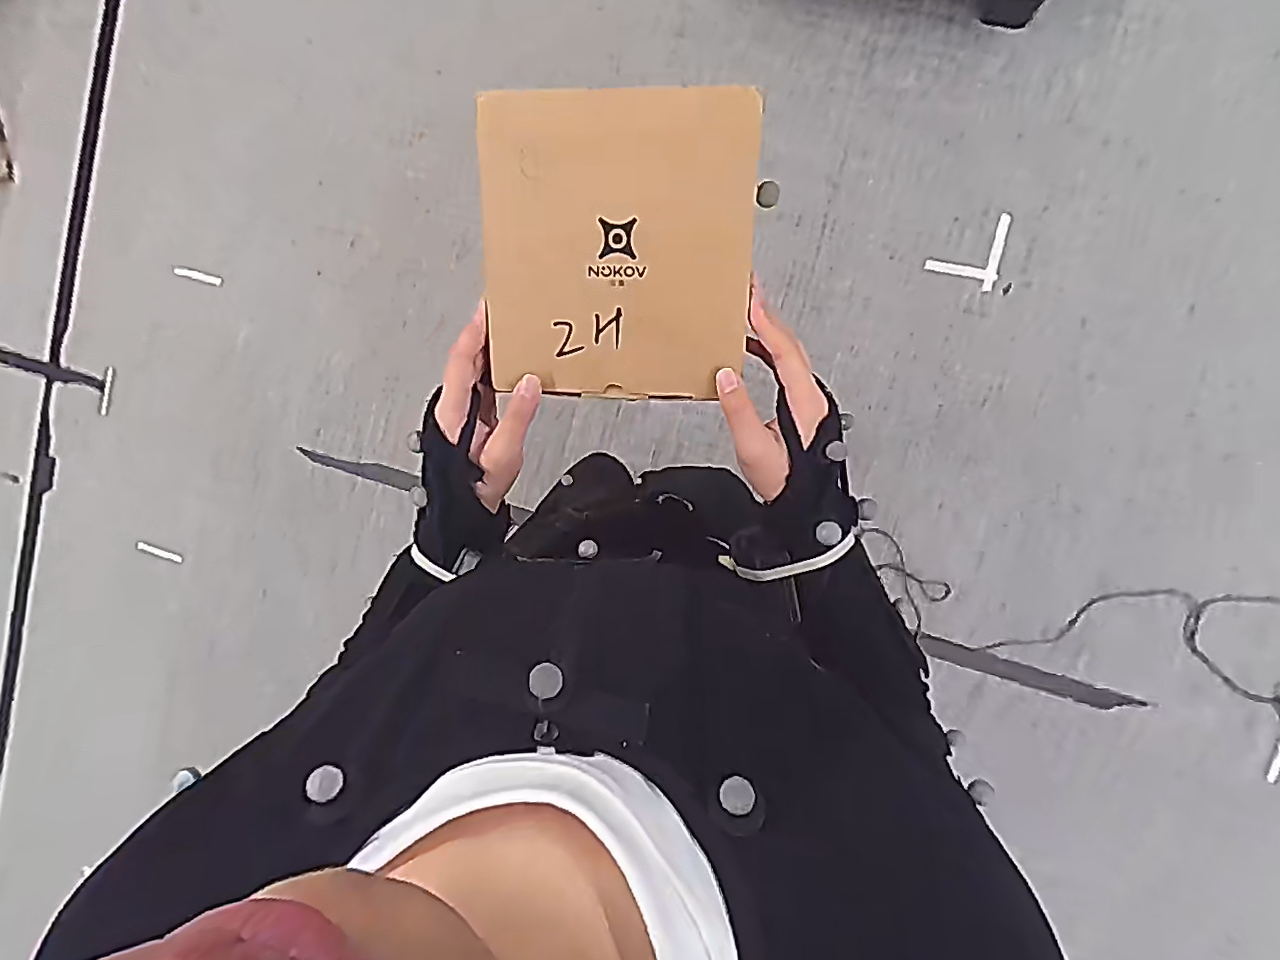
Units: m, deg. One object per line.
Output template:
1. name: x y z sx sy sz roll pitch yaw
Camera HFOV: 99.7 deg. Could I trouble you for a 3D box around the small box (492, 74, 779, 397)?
1. small box: -0.001 -0.162 0.401 0.168 0.176 0.179 4 106 5
